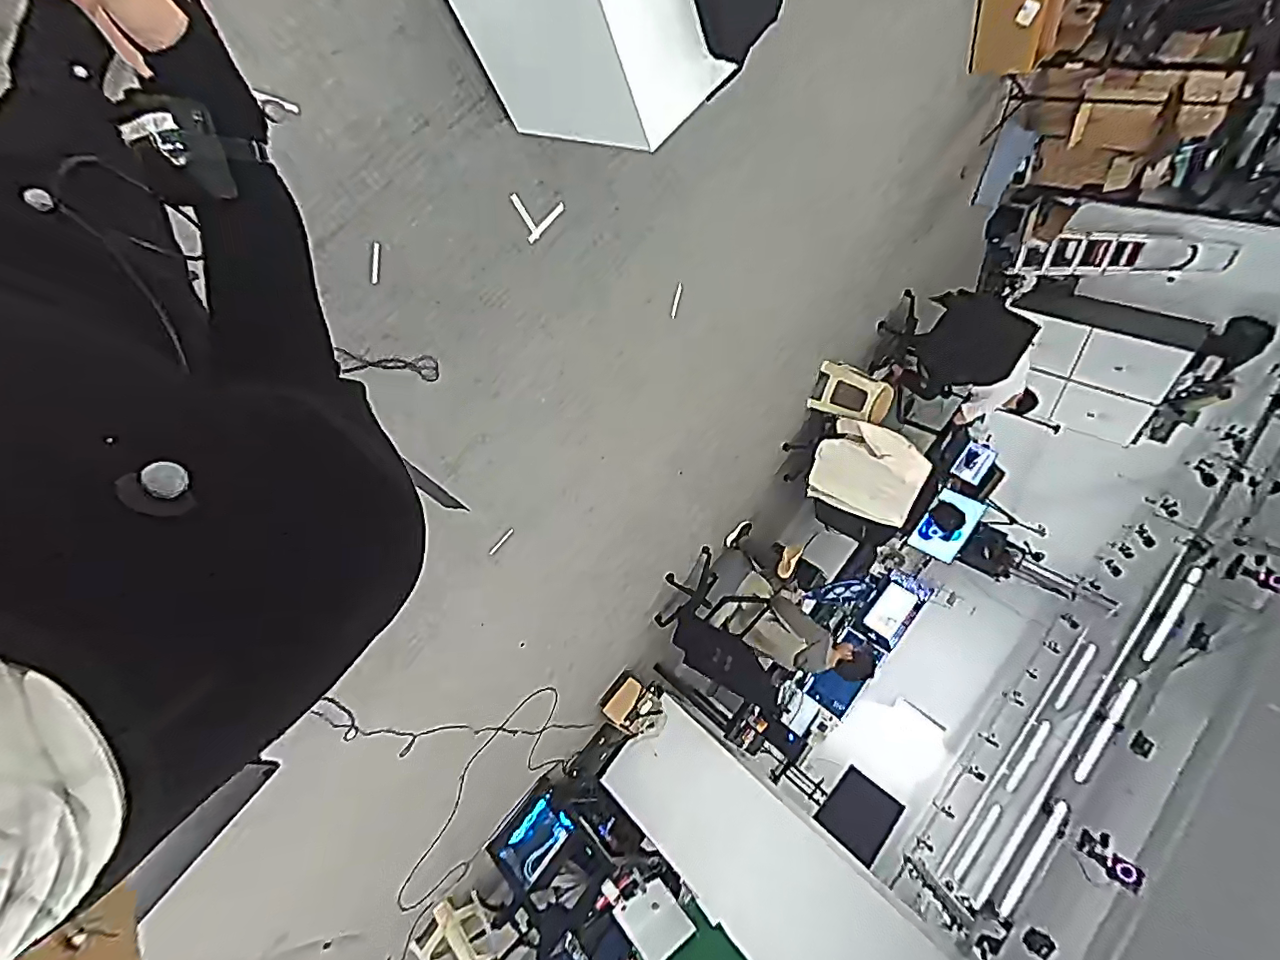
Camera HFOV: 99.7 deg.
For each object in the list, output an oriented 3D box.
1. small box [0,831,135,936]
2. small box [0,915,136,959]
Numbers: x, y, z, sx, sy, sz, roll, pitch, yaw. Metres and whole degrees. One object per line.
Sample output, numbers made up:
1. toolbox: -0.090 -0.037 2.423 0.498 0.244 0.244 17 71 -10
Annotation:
1. small box: -0.912 0.649 0.795 0.179 0.176 0.168 -51 145 -10
2. small box: -0.799 0.723 0.701 0.179 0.176 0.168 -51 145 -10
